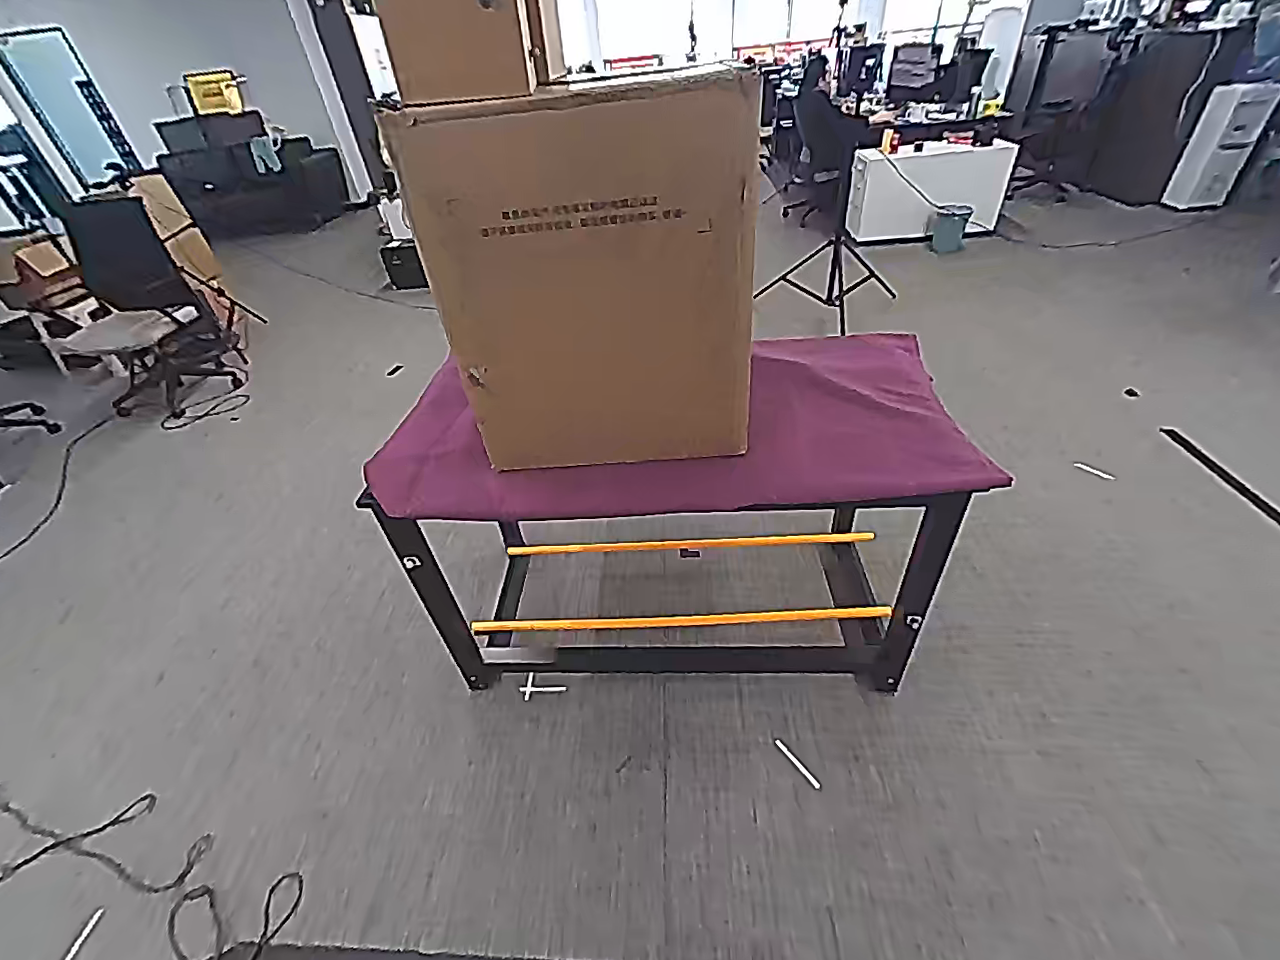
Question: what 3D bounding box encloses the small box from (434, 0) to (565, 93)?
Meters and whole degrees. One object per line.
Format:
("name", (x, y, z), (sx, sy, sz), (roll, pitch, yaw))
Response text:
("small box", (-0.228, -0.759, 0.906), (0.168, 0.176, 0.179), (0, 39, 5))
